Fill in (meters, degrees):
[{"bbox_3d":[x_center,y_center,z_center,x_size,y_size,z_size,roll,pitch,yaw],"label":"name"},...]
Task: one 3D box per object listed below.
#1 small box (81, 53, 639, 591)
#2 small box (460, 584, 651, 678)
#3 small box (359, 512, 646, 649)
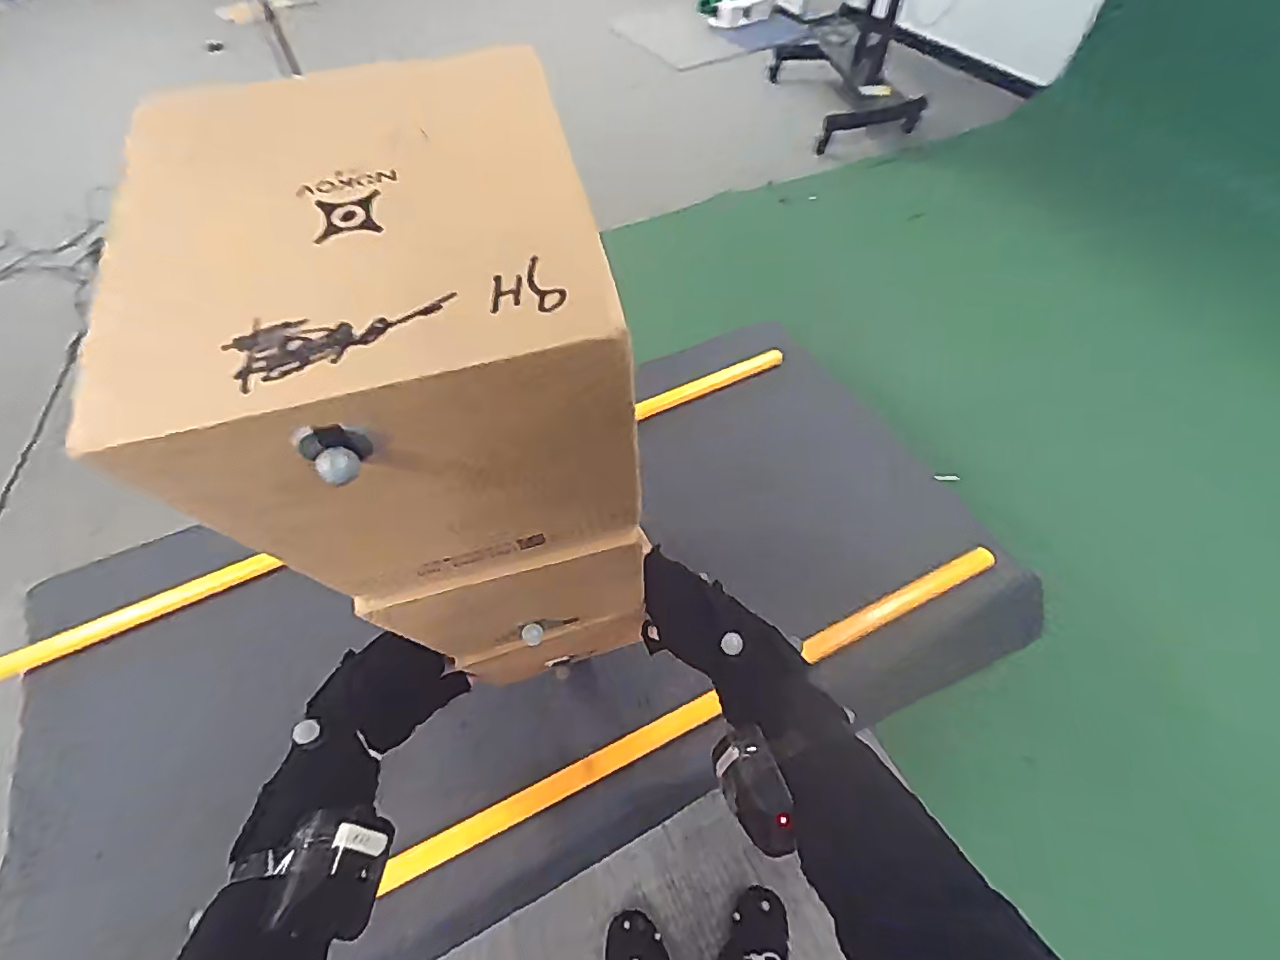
[{"bbox_3d":[-0.100,-0.065,0.271,0.168,0.176,0.179,-14,64,-5],"label":"small box"},{"bbox_3d":[-0.093,0.089,0.561,0.168,0.176,0.179,-17,66,-7],"label":"small box"},{"bbox_3d":[-0.095,0.014,0.415,0.168,0.176,0.179,-14,65,-5],"label":"small box"}]
